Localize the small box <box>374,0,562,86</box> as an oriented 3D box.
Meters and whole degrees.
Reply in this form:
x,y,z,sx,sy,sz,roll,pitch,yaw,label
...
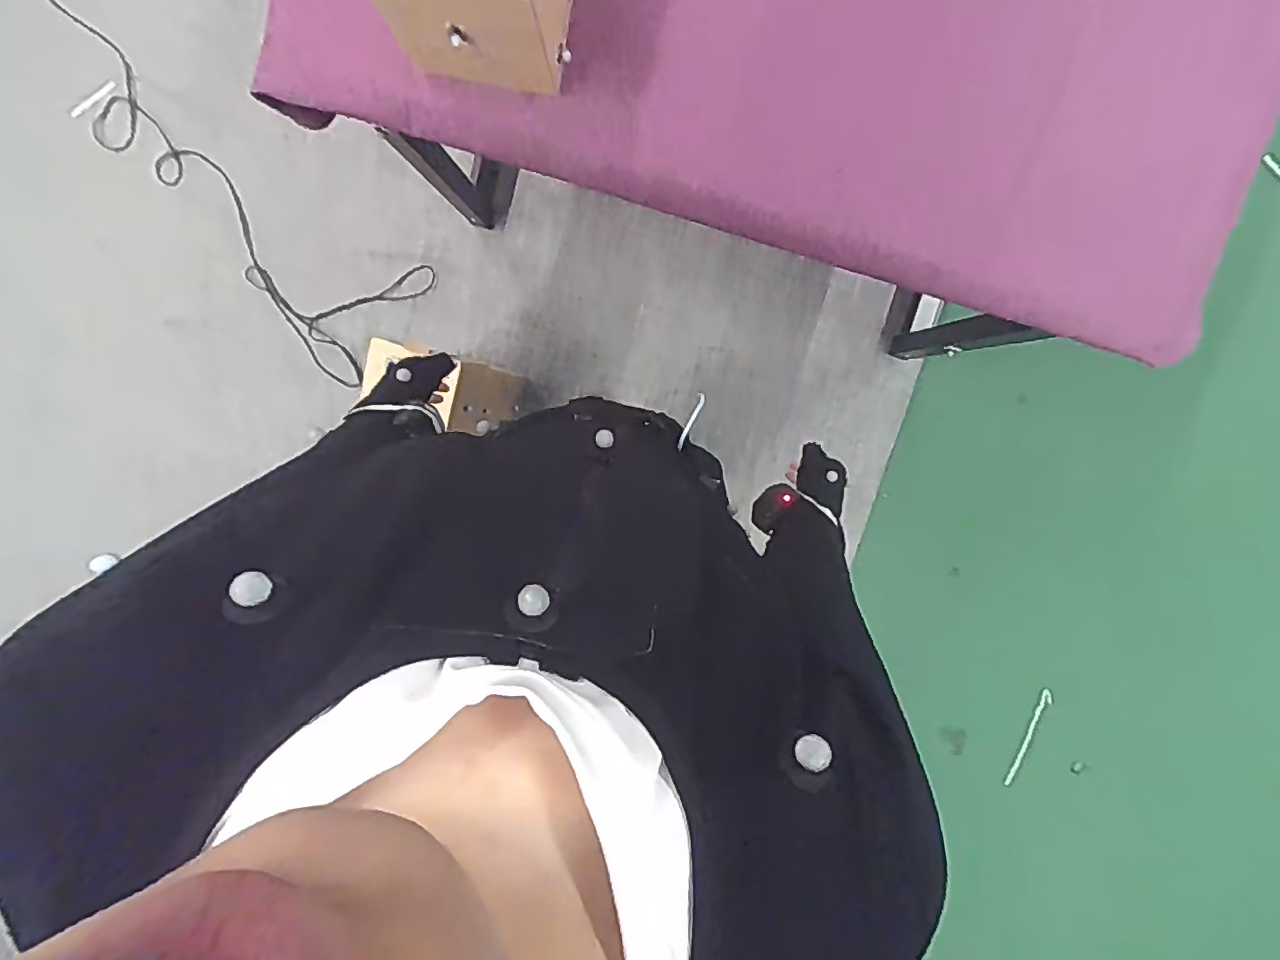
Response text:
x,y,z,sx,sy,sz,roll,pitch,yaw,label
-0.177,-0.563,0.576,0.179,0.176,0.168,10,98,-2,small box
